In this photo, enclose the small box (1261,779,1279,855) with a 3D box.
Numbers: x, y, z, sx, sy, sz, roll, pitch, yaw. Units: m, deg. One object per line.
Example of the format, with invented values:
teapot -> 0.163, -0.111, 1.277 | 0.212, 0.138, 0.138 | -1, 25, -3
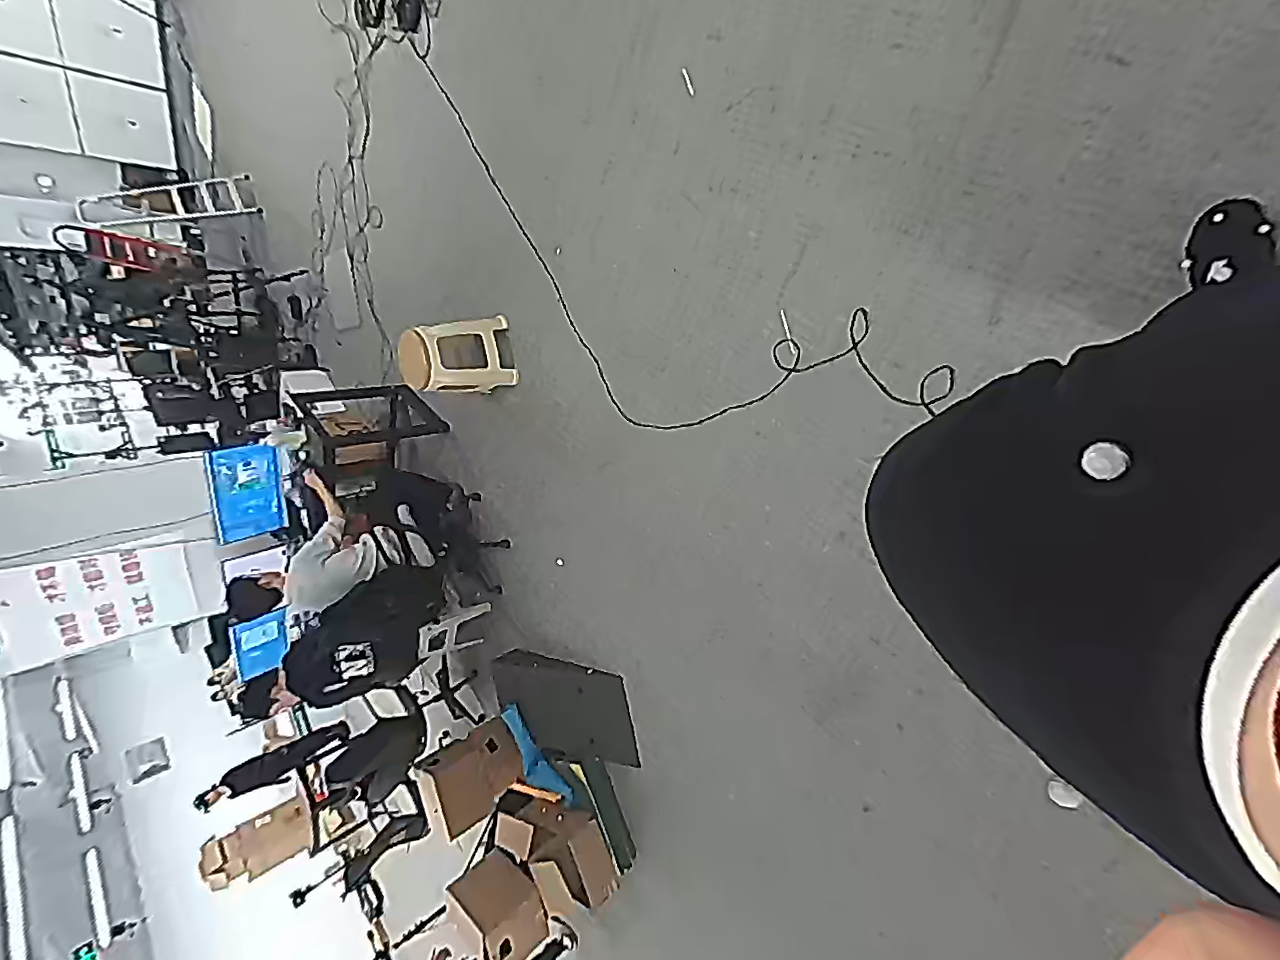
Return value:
small box -> 1.352, 0.670, 1.027 | 0.168, 0.176, 0.179 | 41, 128, 28
